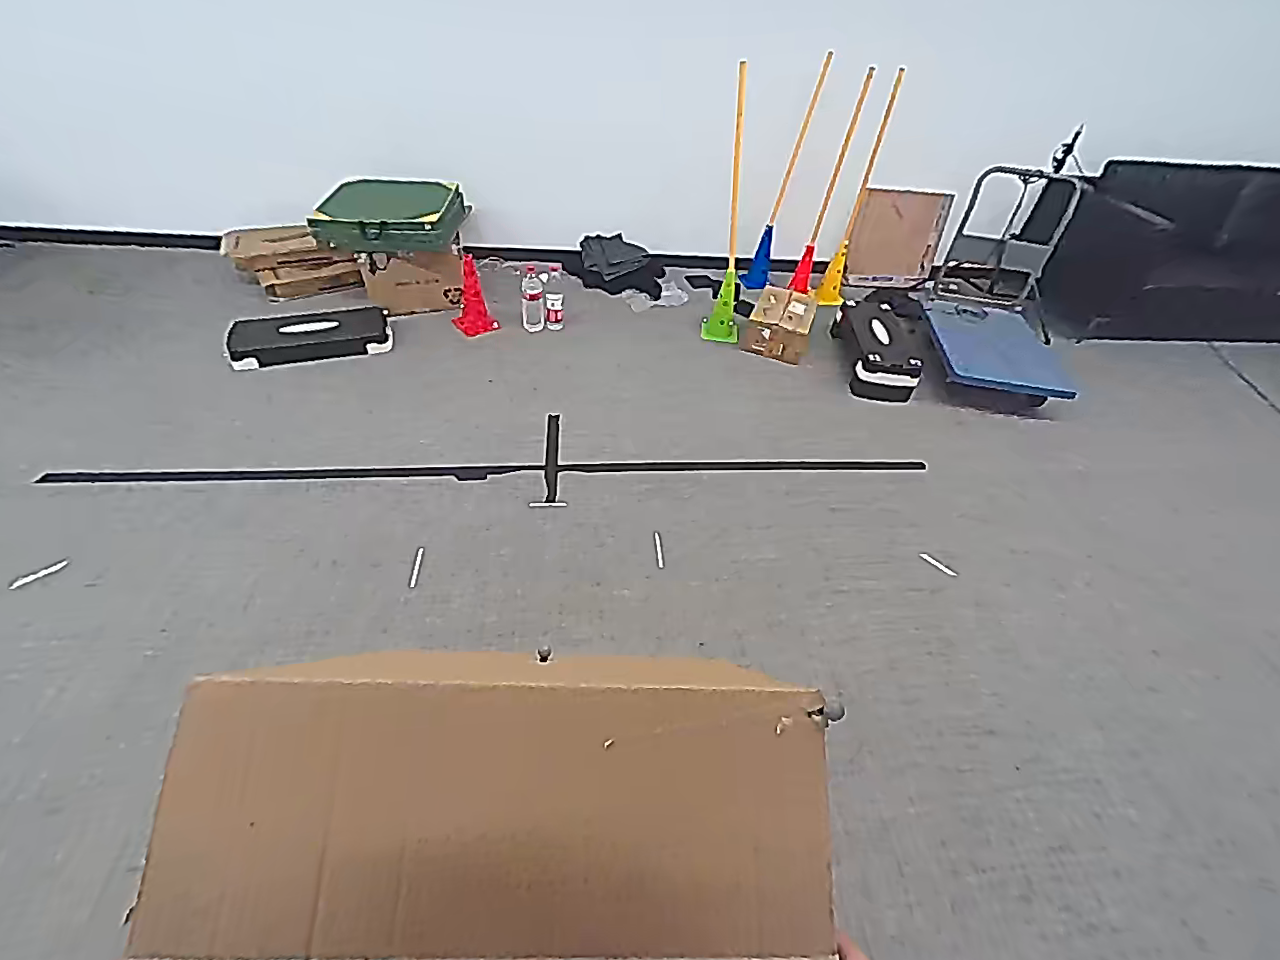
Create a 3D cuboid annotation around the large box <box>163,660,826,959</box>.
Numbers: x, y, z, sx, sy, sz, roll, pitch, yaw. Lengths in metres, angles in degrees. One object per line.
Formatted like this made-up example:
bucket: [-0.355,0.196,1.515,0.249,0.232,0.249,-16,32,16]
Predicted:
large box: [-0.092,0.325,0.468,0.408,0.320,0.320,2,76,-3]
